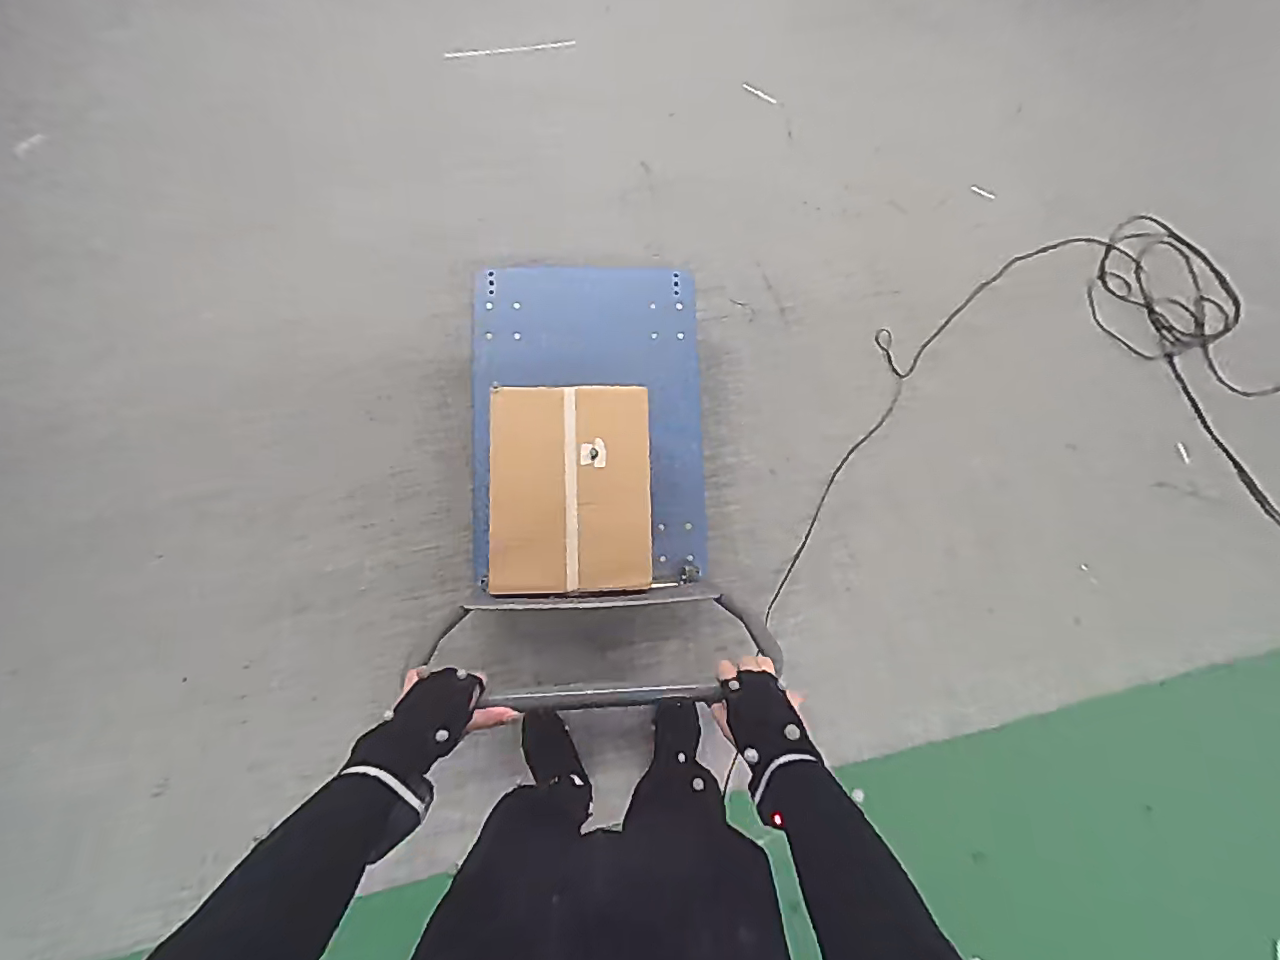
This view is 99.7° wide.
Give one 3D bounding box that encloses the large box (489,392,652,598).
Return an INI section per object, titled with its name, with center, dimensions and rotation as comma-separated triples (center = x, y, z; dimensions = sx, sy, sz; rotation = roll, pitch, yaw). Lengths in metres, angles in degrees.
[large box]
center = -0.150, 0.042, 1.210
dimensions = 0.320, 0.320, 0.408
rotation = -1, 83, -6
